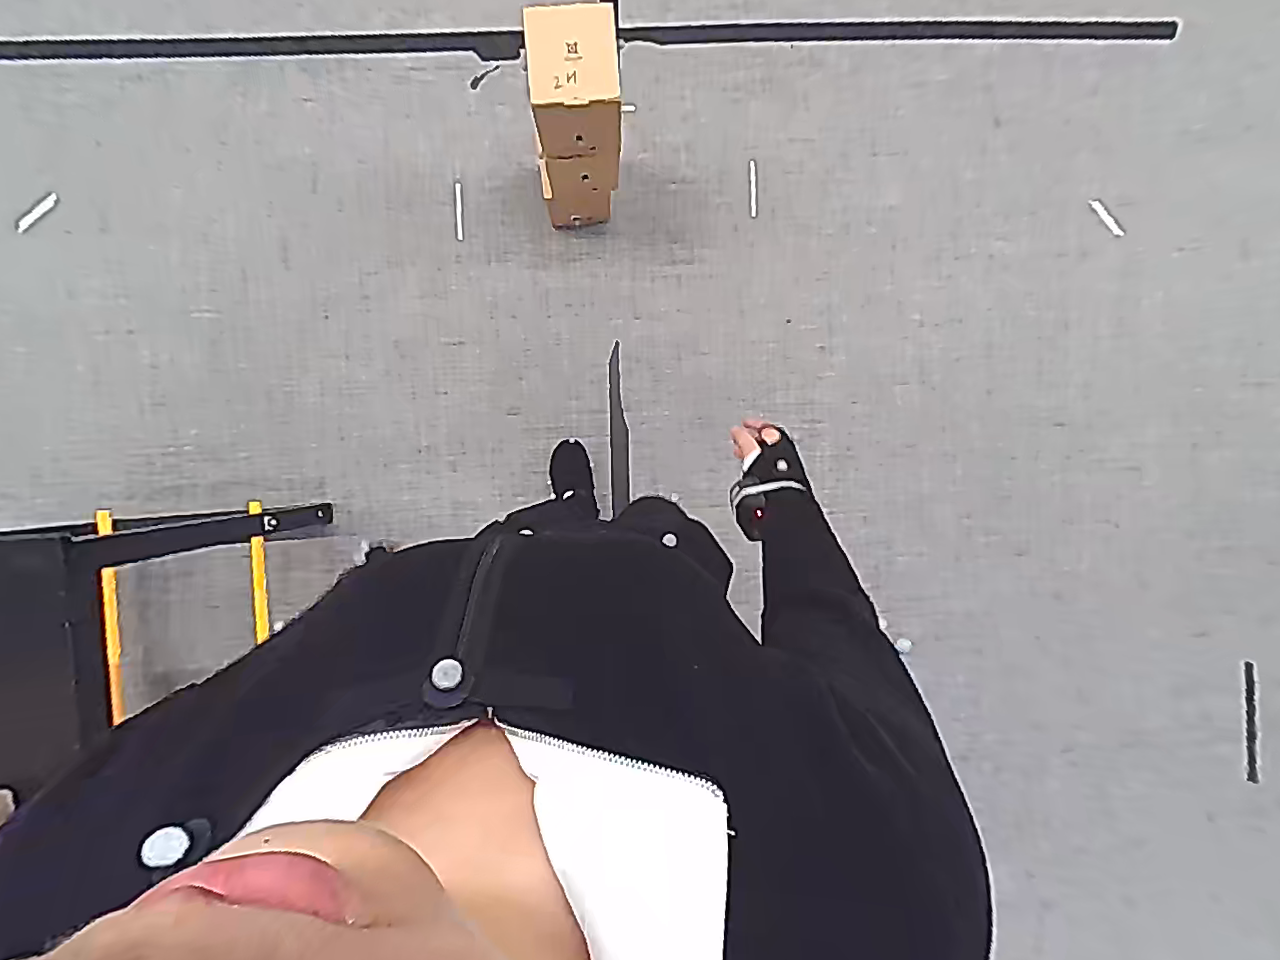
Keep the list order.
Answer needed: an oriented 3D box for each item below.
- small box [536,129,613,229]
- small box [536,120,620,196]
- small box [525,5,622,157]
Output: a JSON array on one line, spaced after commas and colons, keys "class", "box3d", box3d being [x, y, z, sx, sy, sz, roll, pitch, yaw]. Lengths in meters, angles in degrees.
[{"class": "small box", "box3d": [-0.163, -0.772, 1.382, 0.168, 0.176, 0.179, -9, 93, -1]}, {"class": "small box", "box3d": [-0.138, -0.767, 1.219, 0.168, 0.176, 0.179, -10, 92, -2]}, {"class": "small box", "box3d": [-0.124, -0.766, 1.054, 0.168, 0.176, 0.179, -5, 92, -1]}]
